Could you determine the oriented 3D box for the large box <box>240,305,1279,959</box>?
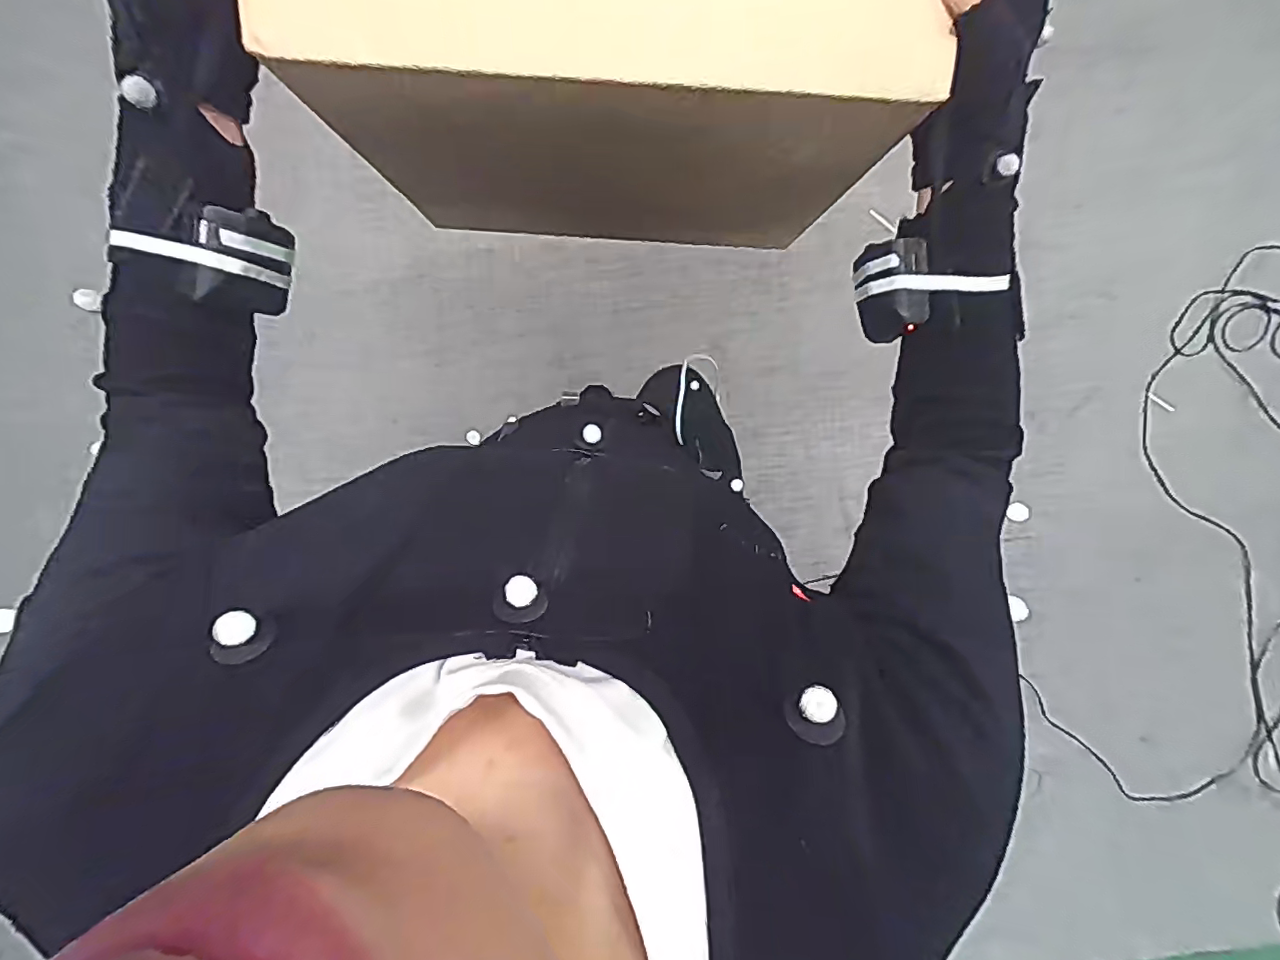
[{"bbox_3d":[0.110,0.159,0.327,0.320,0.320,0.408,19,63,29],"label":"large box"}]
